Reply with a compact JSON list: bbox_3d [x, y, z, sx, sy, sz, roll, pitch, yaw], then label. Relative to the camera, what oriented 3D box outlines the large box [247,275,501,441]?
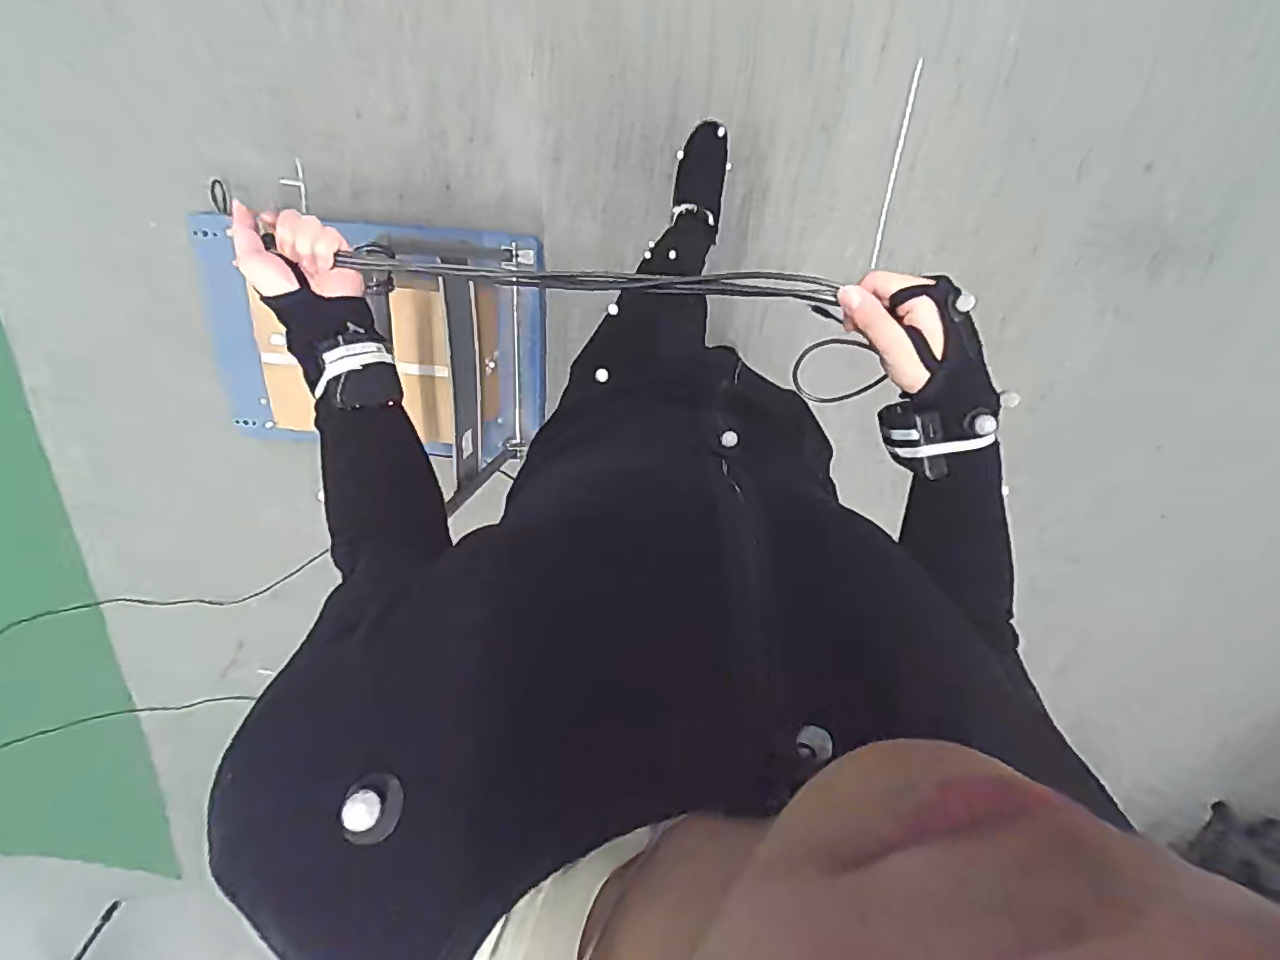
[{"bbox_3d":[-0.565,-0.293,1.236,0.408,0.320,0.320,5,111,3],"label":"large box"}]
